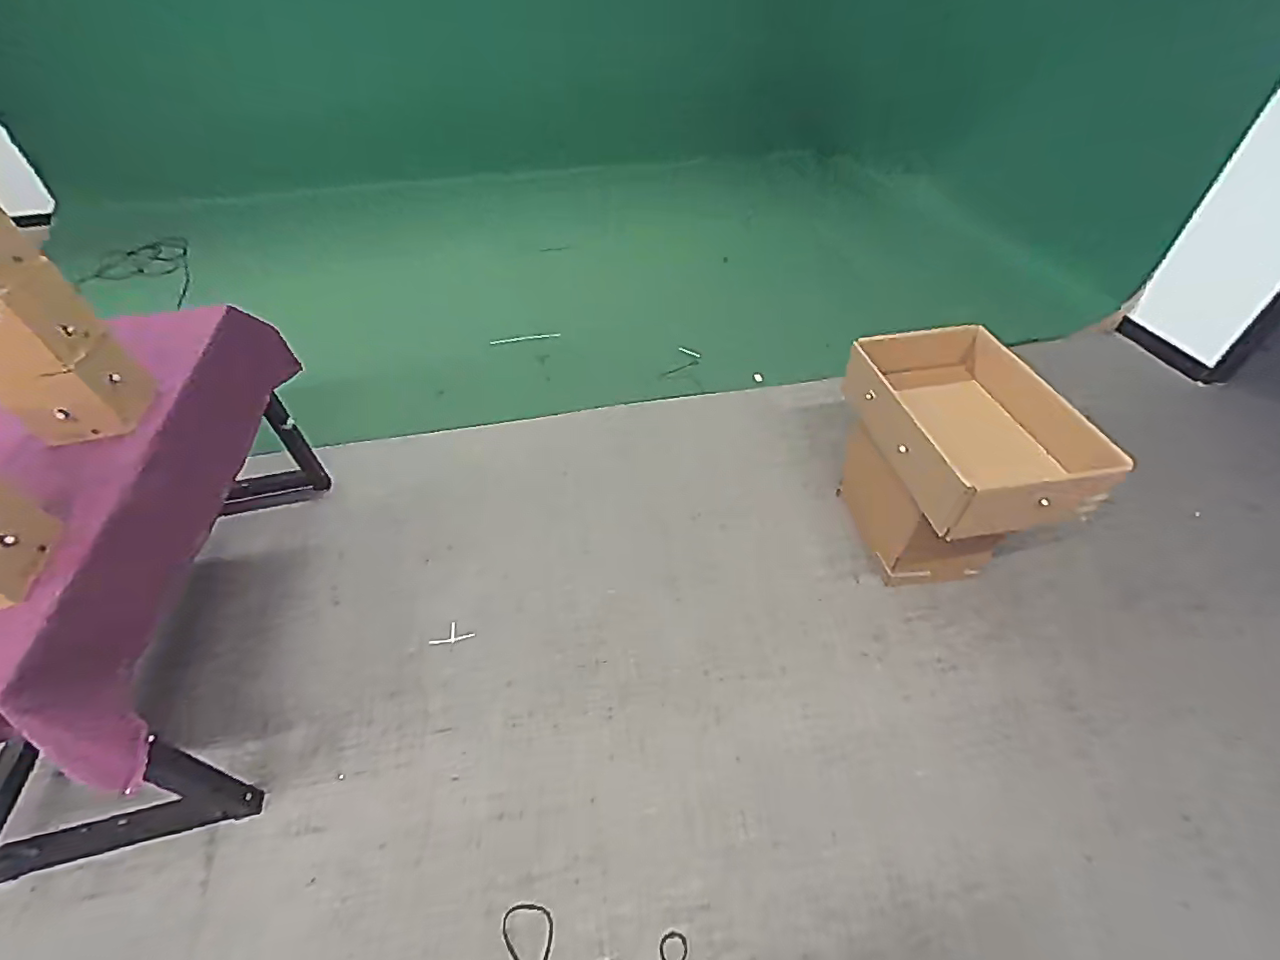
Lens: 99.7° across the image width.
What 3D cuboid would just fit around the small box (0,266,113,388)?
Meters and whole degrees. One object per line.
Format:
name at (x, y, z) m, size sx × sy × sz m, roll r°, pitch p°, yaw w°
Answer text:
small box at (-1.231, -0.300, 1.073) m, size 0.179 × 0.176 × 0.168 m, roll -11°, pitch 46°, yaw -8°

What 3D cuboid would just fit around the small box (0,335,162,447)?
small box at (-1.218, -0.190, 1.193) m, size 0.168 × 0.176 × 0.179 m, roll -12°, pitch 47°, yaw -9°

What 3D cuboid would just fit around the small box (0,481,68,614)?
small box at (-1.123, 0.121, 0.885) m, size 0.179 × 0.176 × 0.168 m, roll -11°, pitch 46°, yaw -7°
